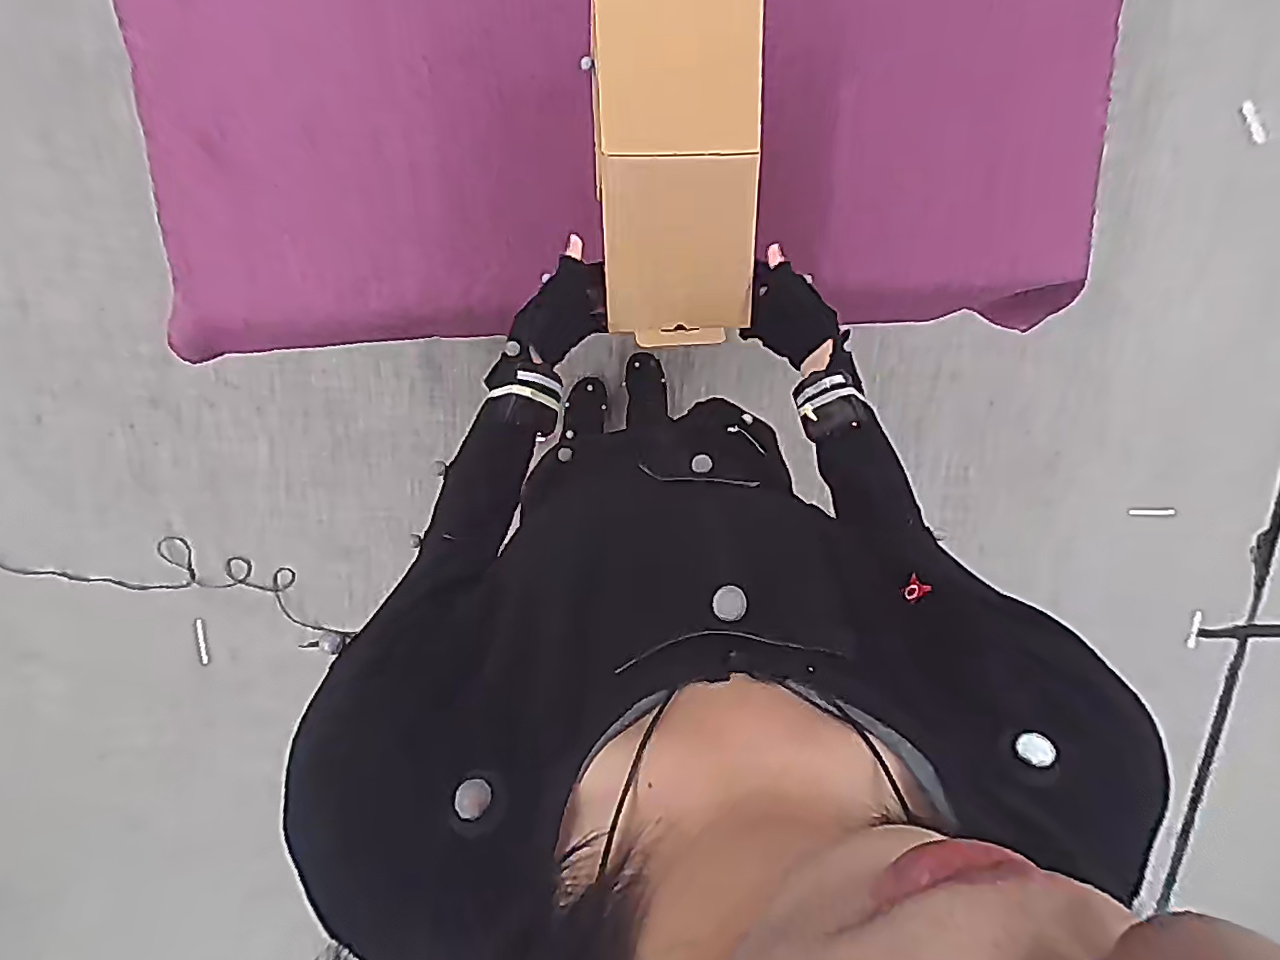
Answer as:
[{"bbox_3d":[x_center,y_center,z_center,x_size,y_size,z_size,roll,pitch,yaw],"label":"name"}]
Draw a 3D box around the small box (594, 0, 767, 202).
[{"bbox_3d":[0.035,-0.428,0.603,0.168,0.176,0.179,-3,104,-4],"label":"small box"}]
